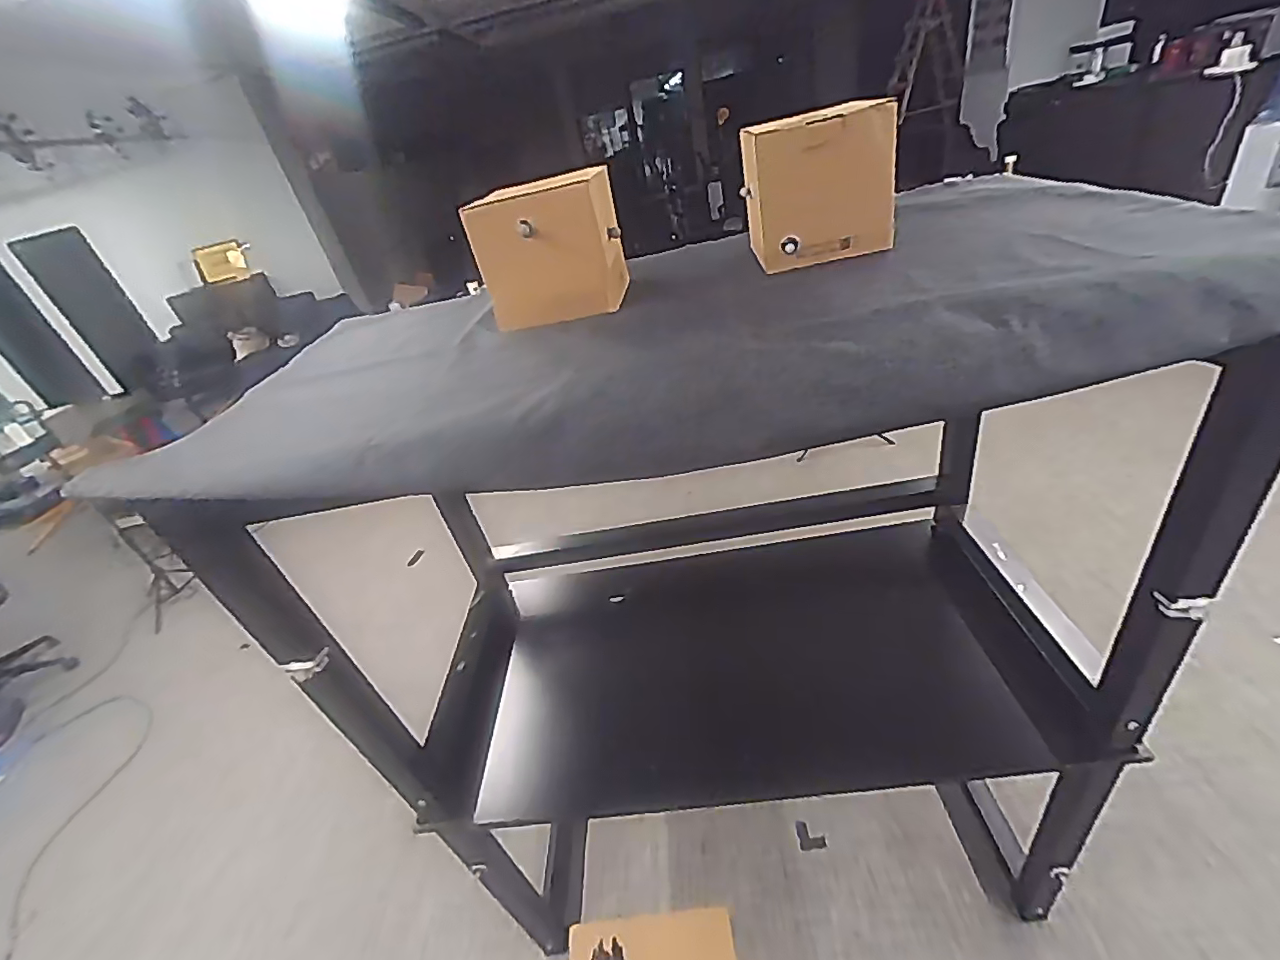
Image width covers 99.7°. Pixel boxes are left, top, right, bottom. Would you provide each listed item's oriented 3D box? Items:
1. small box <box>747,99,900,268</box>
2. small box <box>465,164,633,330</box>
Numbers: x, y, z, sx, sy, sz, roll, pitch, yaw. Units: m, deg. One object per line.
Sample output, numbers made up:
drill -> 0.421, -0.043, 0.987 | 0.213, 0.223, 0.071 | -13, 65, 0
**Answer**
small box -> 0.245, -0.403, 0.746 | 0.168, 0.176, 0.179 | -8, 33, 9
small box -> -0.114, -0.333, 0.776 | 0.179, 0.176, 0.168 | -7, 34, 11
